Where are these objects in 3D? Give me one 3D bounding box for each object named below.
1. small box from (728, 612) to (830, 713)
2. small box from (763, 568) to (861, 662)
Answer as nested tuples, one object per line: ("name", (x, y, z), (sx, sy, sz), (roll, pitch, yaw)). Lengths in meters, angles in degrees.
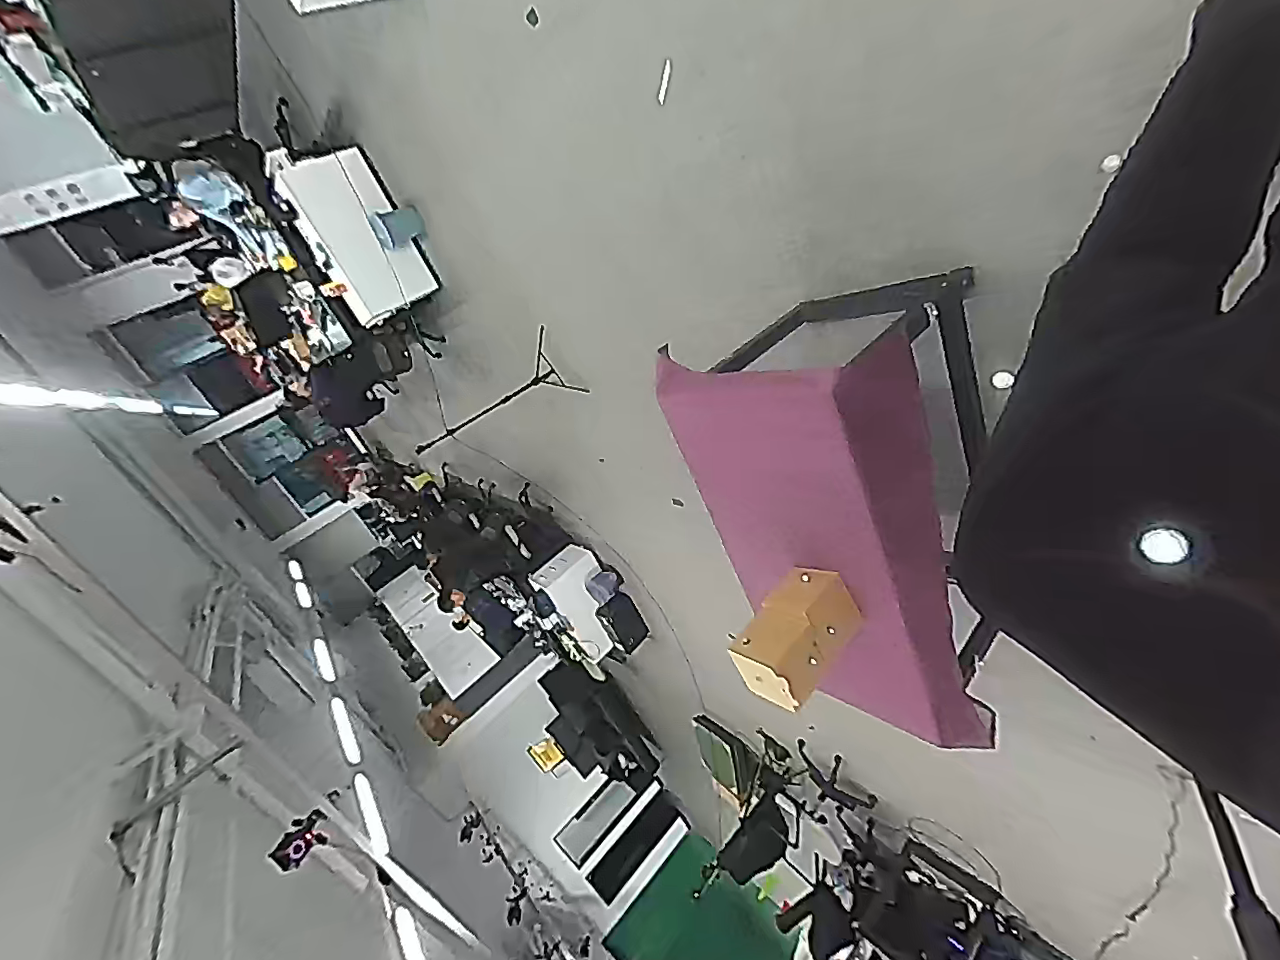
("small box", (0.377, 0.482, 1.463), (0.179, 0.176, 0.168), (2, 127, 57))
("small box", (0.487, 0.372, 1.521), (0.179, 0.176, 0.168), (59, 153, -14))
